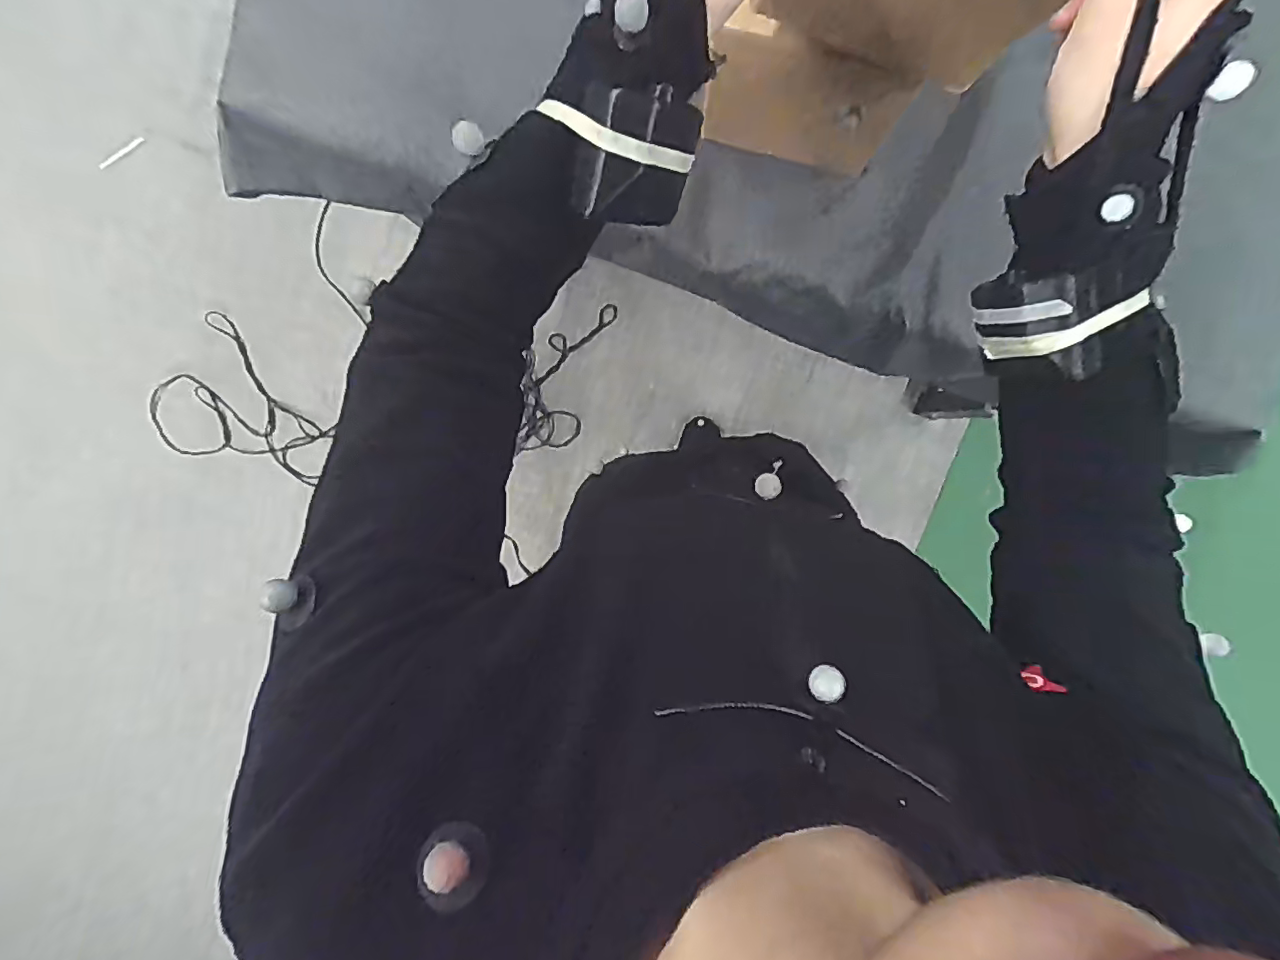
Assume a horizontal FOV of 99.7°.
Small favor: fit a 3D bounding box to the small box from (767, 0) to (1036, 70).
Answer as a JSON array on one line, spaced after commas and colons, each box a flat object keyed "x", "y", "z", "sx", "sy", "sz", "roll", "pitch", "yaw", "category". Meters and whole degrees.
[{"x": 0.176, "y": -0.371, "z": 0.295, "sx": 0.179, "sy": 0.176, "sz": 0.168, "roll": 19, "pitch": 106, "yaw": -3, "category": "small box"}]
